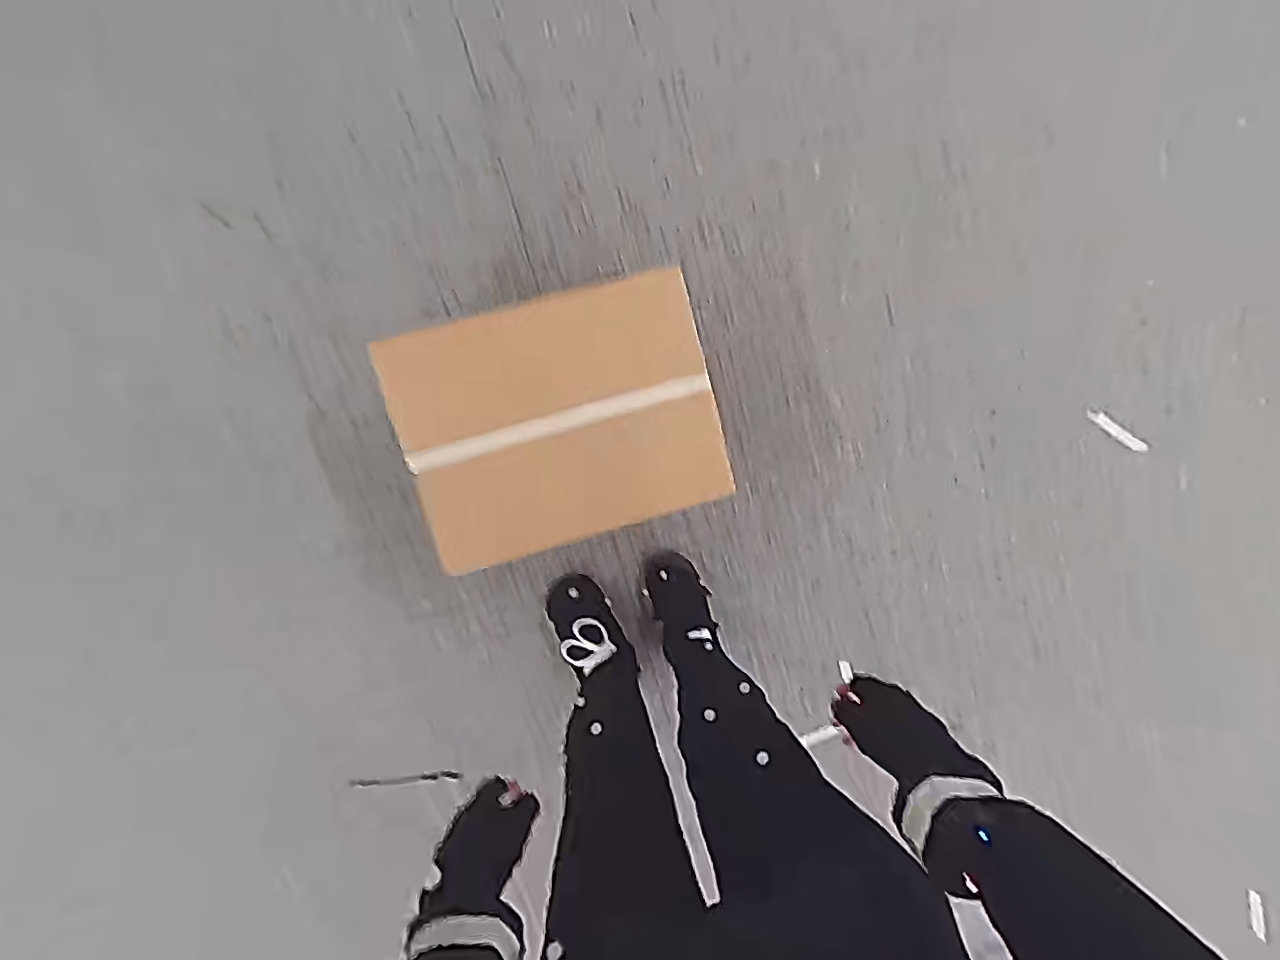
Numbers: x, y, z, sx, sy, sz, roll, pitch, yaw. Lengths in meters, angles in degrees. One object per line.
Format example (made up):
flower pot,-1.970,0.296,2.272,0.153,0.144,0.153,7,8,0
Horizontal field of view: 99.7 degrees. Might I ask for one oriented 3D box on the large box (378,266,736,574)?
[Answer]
large box,-0.114,-0.094,0.849,0.408,0.320,0.320,-16,100,-5
